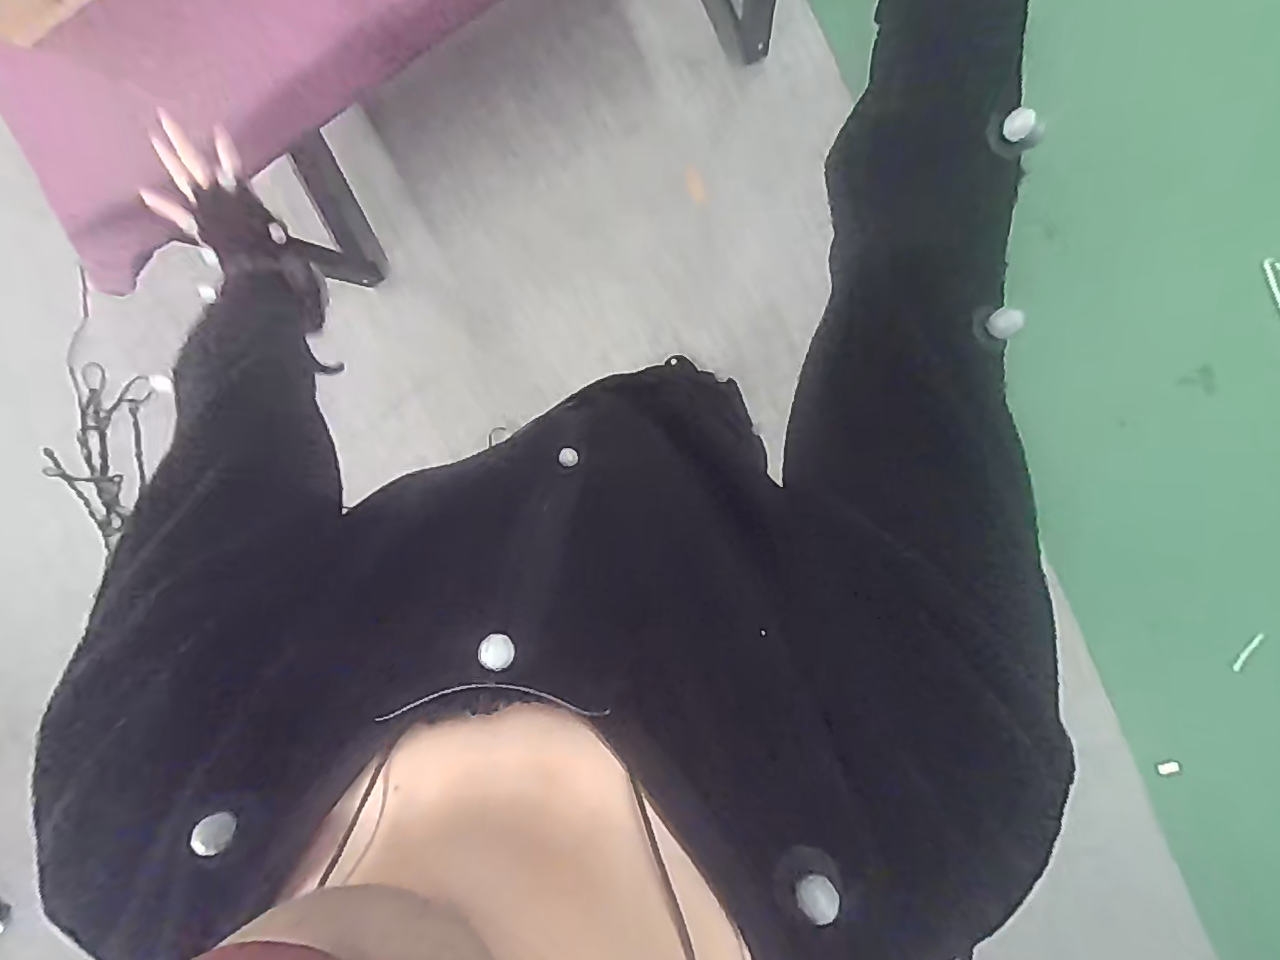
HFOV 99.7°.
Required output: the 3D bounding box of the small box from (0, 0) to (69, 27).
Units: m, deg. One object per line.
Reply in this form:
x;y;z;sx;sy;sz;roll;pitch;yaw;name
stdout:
-0.844;-0.710;0.659;0.168;0.176;0.179;-22;97;11;small box
